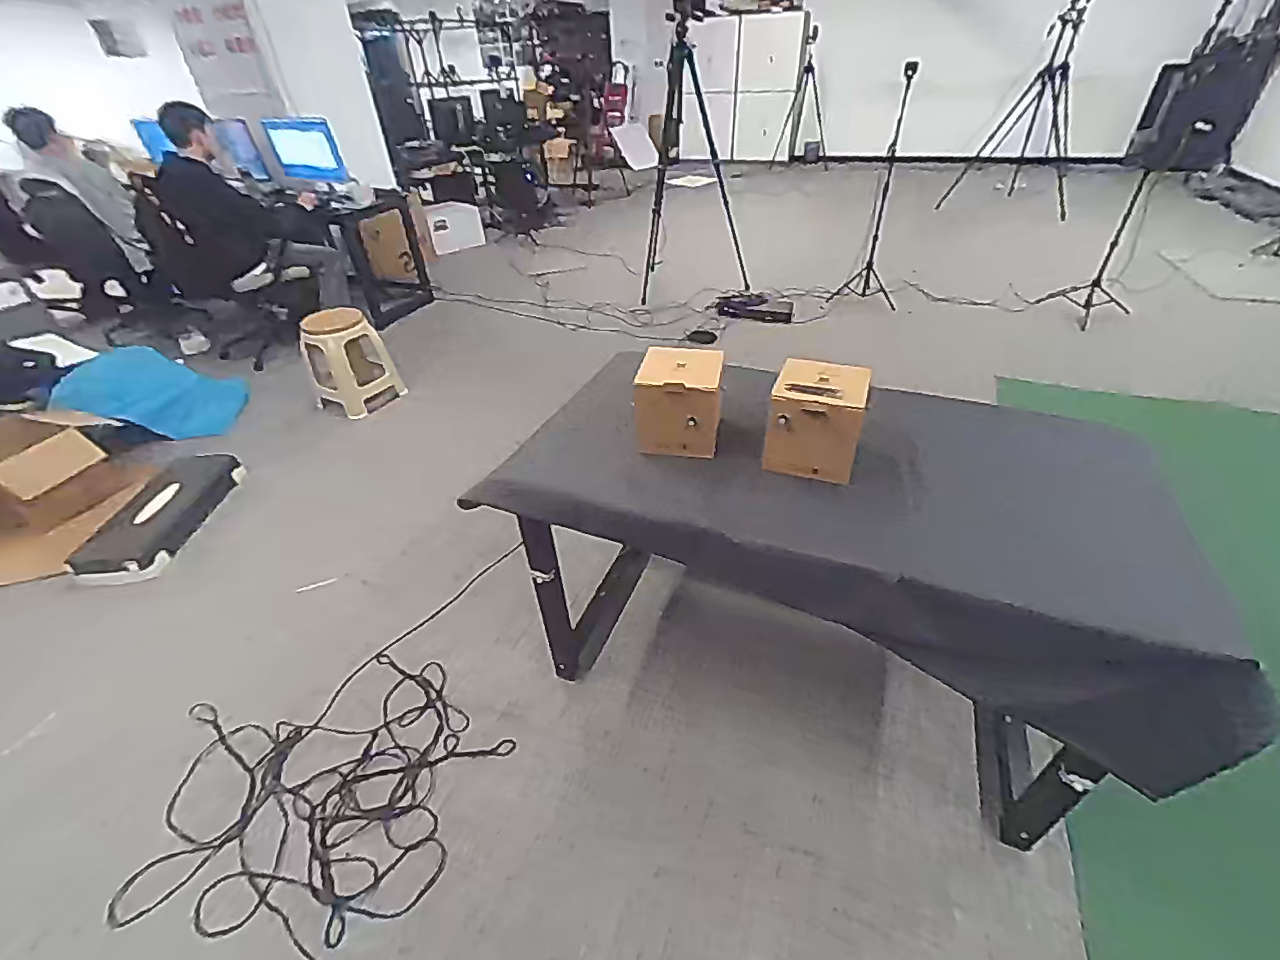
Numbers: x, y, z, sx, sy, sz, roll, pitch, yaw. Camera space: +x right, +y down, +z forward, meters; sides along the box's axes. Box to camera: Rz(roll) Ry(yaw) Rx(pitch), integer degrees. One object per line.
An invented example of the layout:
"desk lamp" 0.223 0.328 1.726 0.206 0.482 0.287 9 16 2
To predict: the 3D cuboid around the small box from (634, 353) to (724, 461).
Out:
"small box" 0.088 -0.157 1.154 0.168 0.176 0.179 6 37 10
